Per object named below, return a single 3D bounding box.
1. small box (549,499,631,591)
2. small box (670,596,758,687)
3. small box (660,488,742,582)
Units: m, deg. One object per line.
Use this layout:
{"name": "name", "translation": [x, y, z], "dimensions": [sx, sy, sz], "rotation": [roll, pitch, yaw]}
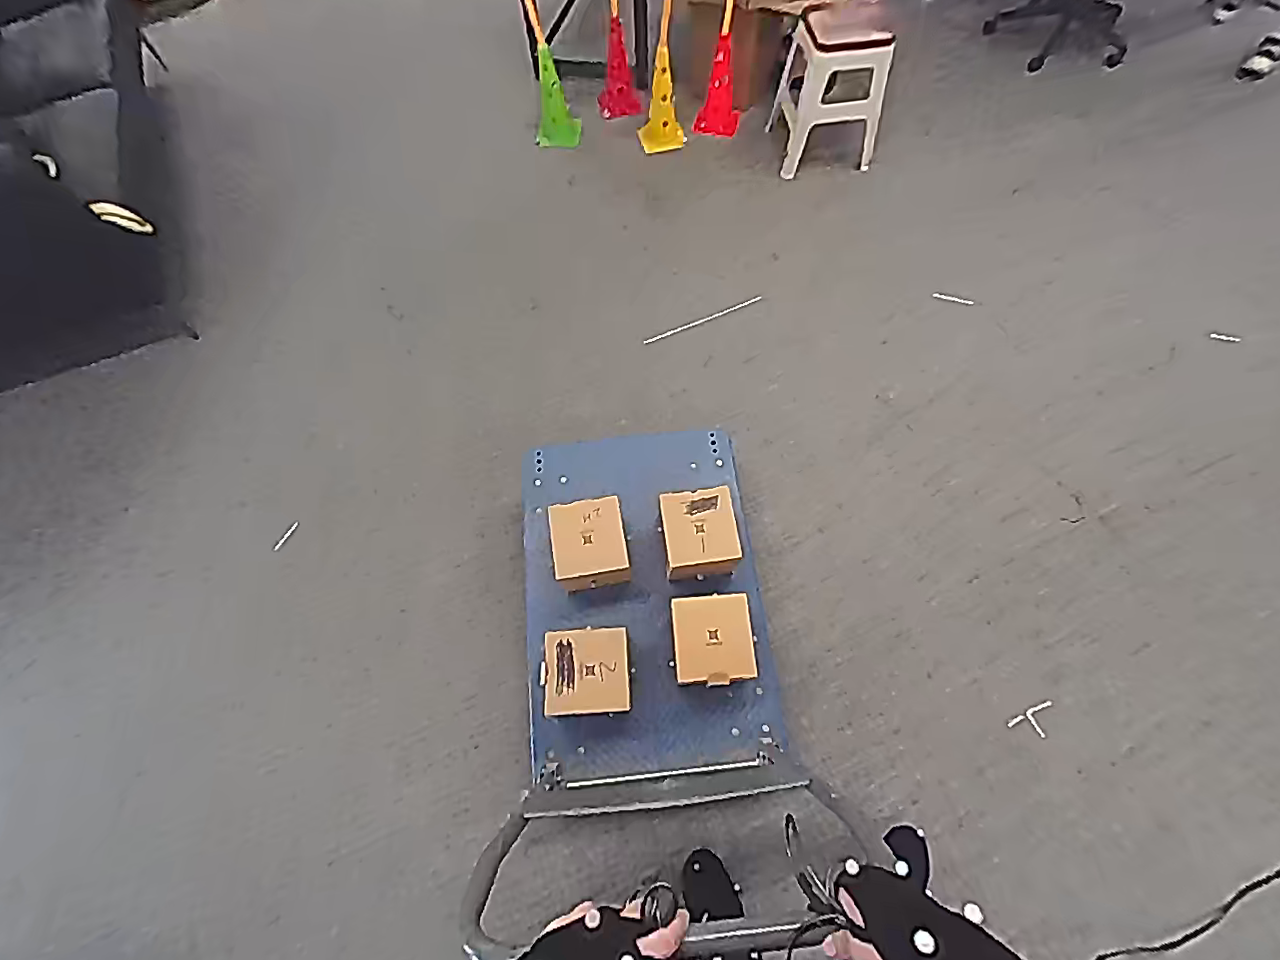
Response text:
{"name": "small box", "translation": [-0.116, 0.164, 1.295], "dimensions": [0.168, 0.176, 0.179], "rotation": [-9, 69, -2]}
{"name": "small box", "translation": [0.157, 0.366, 1.211], "dimensions": [0.168, 0.176, 0.179], "rotation": [-5, 70, 0]}
{"name": "small box", "translation": [0.138, 0.137, 1.297], "dimensions": [0.168, 0.176, 0.179], "rotation": [-8, 70, 0]}
